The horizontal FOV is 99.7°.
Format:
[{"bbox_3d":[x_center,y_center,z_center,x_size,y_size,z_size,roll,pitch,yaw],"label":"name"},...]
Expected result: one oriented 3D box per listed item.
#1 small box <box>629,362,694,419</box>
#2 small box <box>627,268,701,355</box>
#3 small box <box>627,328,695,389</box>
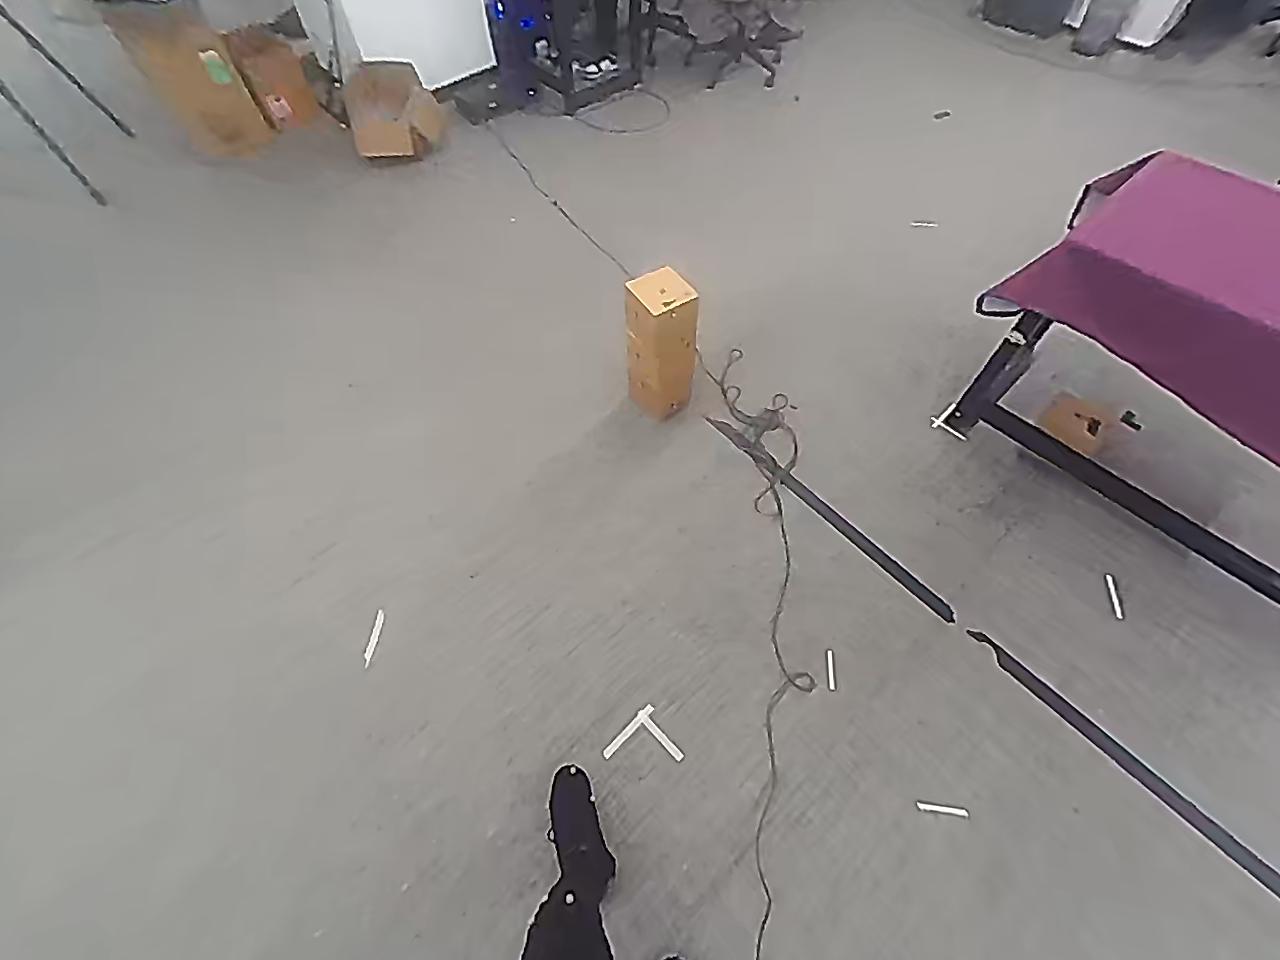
[{"bbox_3d":[0.077,-0.357,1.978,0.168,0.176,0.179,-37,65,-19],"label":"small box"},{"bbox_3d":[0.072,-0.527,1.699,0.168,0.176,0.179,-28,61,-15],"label":"small box"},{"bbox_3d":[0.075,-0.443,1.840,0.179,0.176,0.168,-35,64,-19],"label":"small box"}]
